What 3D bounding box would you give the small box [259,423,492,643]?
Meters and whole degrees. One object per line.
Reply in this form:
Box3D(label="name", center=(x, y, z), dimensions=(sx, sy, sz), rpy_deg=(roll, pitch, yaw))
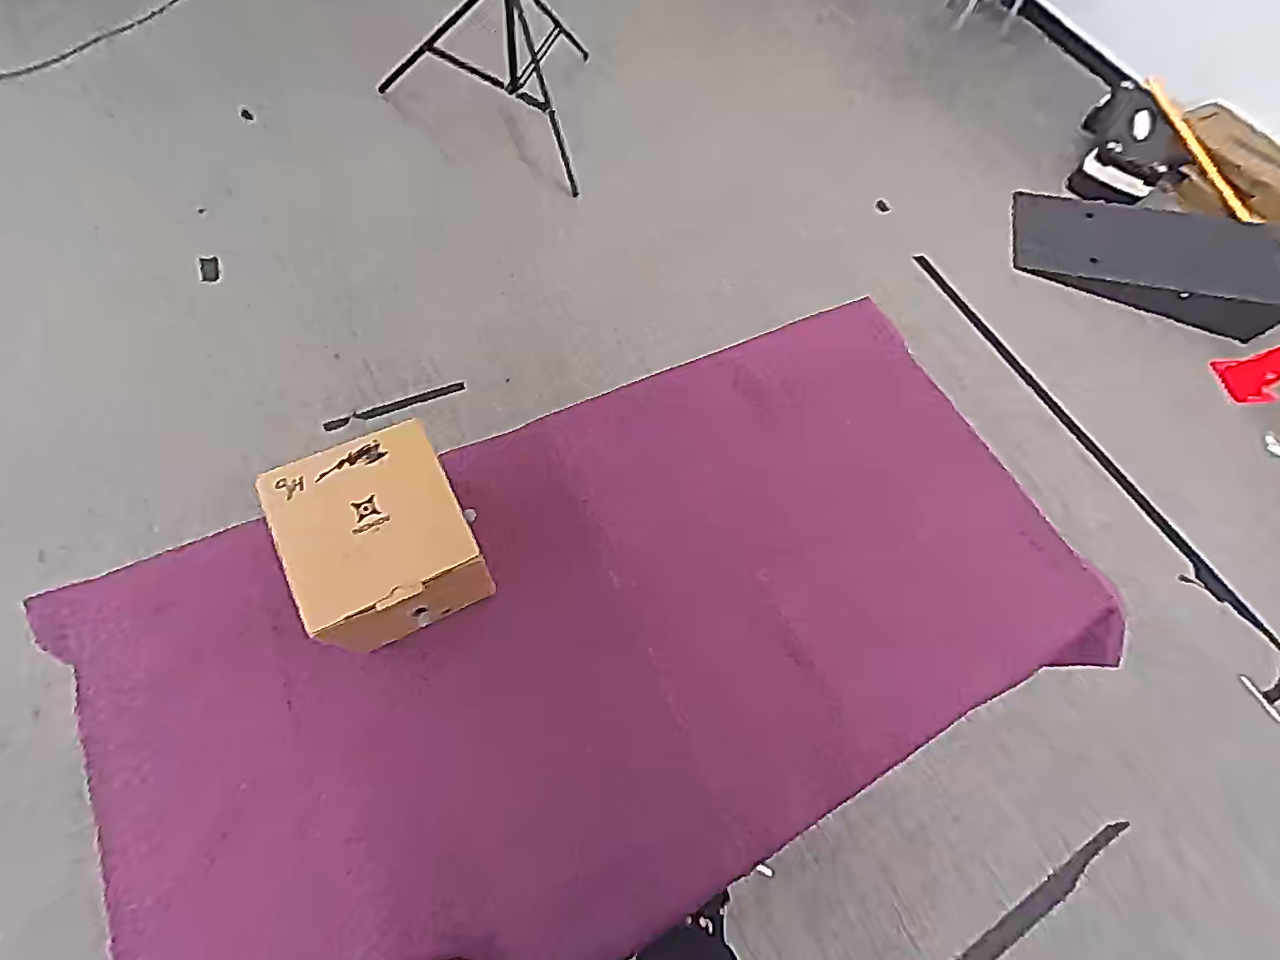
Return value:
Box3D(label="small box", center=(-0.279, 0.070, 0.609), dimensions=(0.168, 0.176, 0.179), rpy_deg=(-24, 73, -18))
